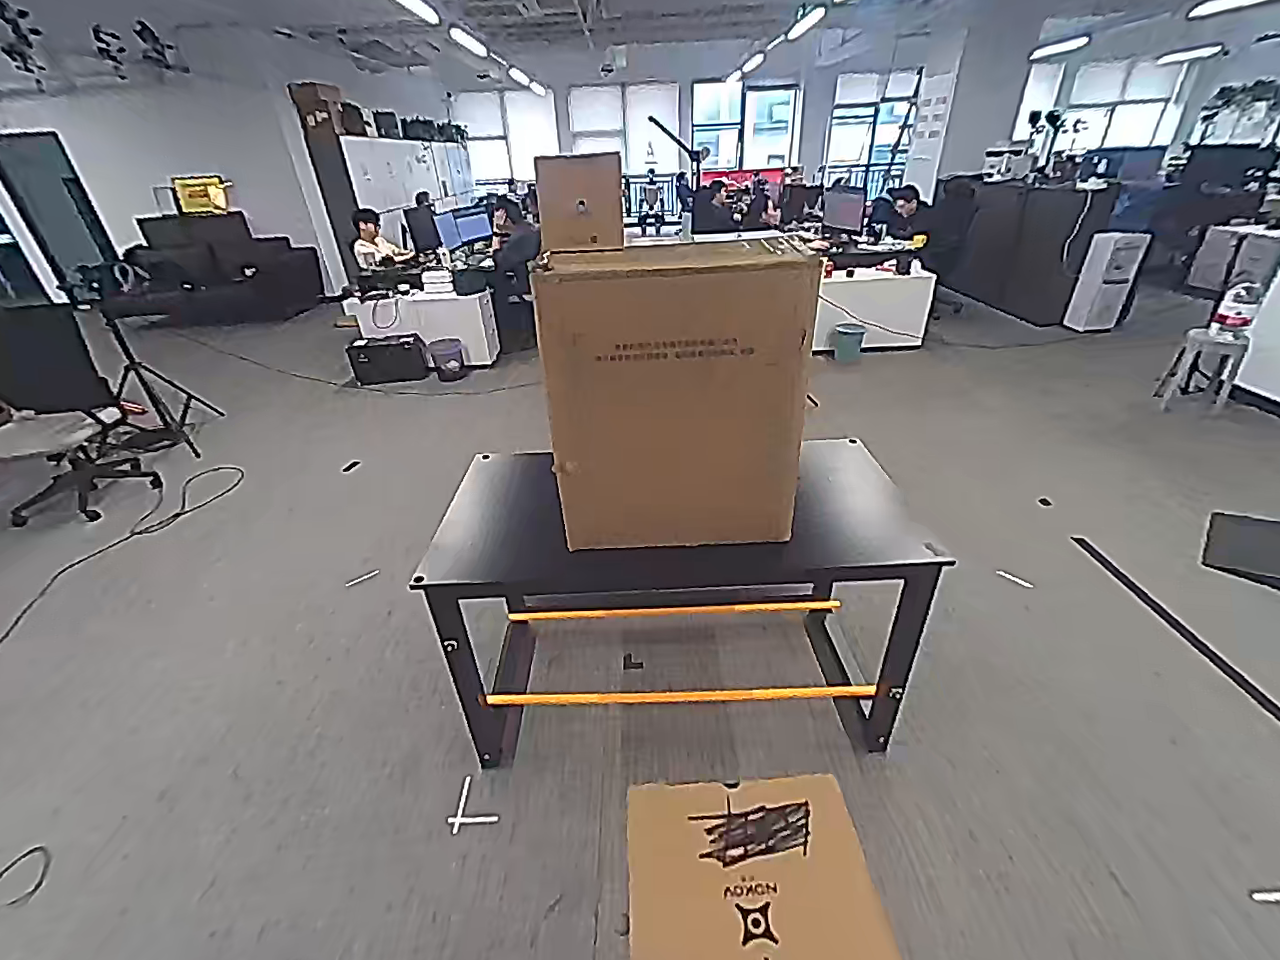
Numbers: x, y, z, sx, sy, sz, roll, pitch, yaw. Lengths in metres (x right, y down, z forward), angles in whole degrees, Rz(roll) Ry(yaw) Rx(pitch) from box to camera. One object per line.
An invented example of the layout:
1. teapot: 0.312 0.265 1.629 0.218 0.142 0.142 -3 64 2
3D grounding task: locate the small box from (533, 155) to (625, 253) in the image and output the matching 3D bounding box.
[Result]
1. small box: -0.119 -0.566 1.114 0.168 0.176 0.179 -4 30 -3

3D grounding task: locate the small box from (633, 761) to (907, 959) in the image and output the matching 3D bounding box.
1. small box: 0.079 0.340 0.396 0.168 0.176 0.179 -3 30 -1
